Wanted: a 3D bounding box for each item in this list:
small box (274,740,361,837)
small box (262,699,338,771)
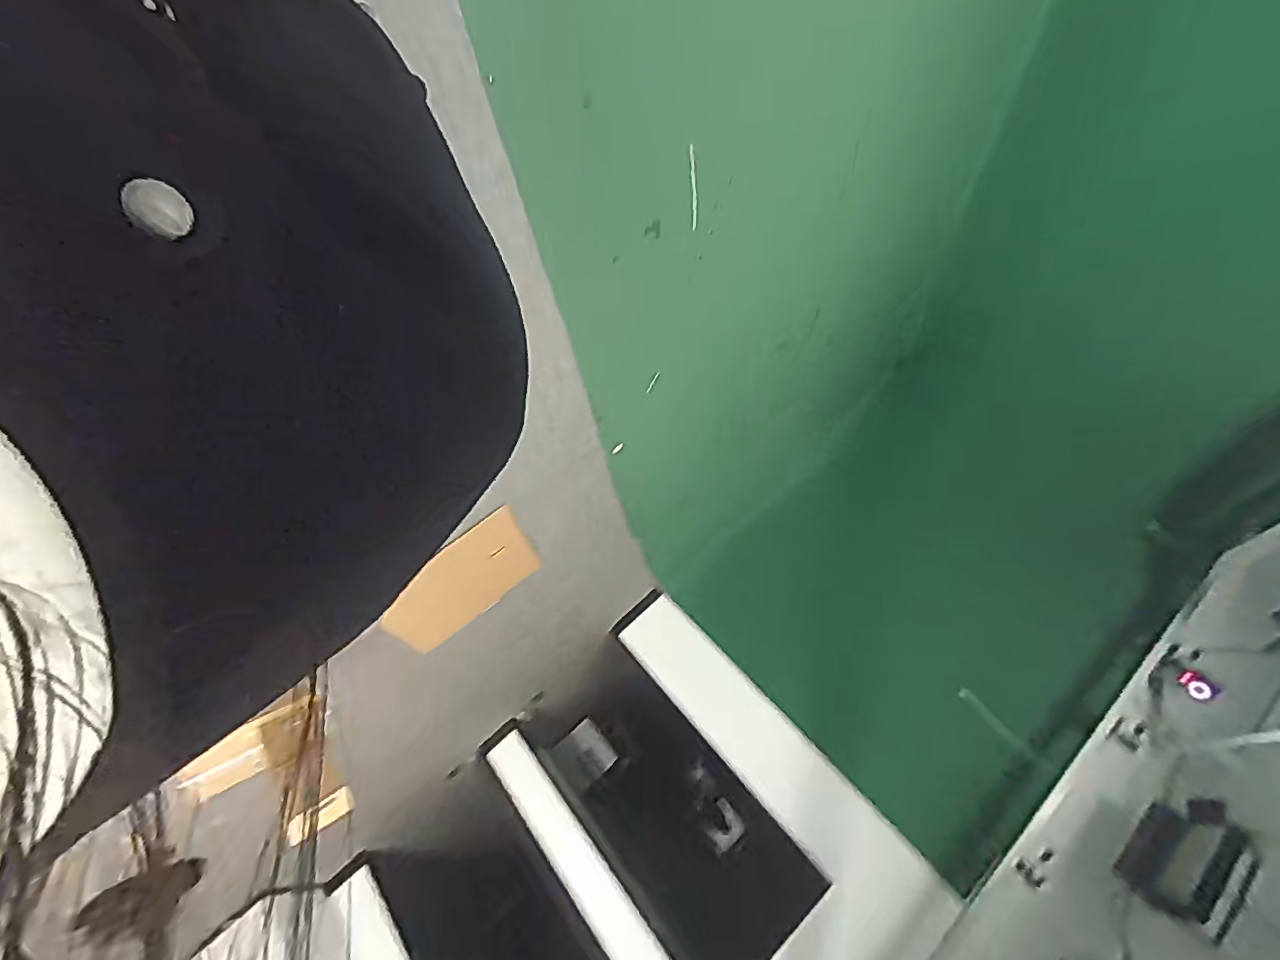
[{"bbox_3d":[-0.984,0.933,1.650,0.168,0.176,0.179,-25,142,-37],"label":"small box"},{"bbox_3d":[-1.093,0.849,1.742,0.168,0.176,0.179,-19,138,-42],"label":"small box"}]
